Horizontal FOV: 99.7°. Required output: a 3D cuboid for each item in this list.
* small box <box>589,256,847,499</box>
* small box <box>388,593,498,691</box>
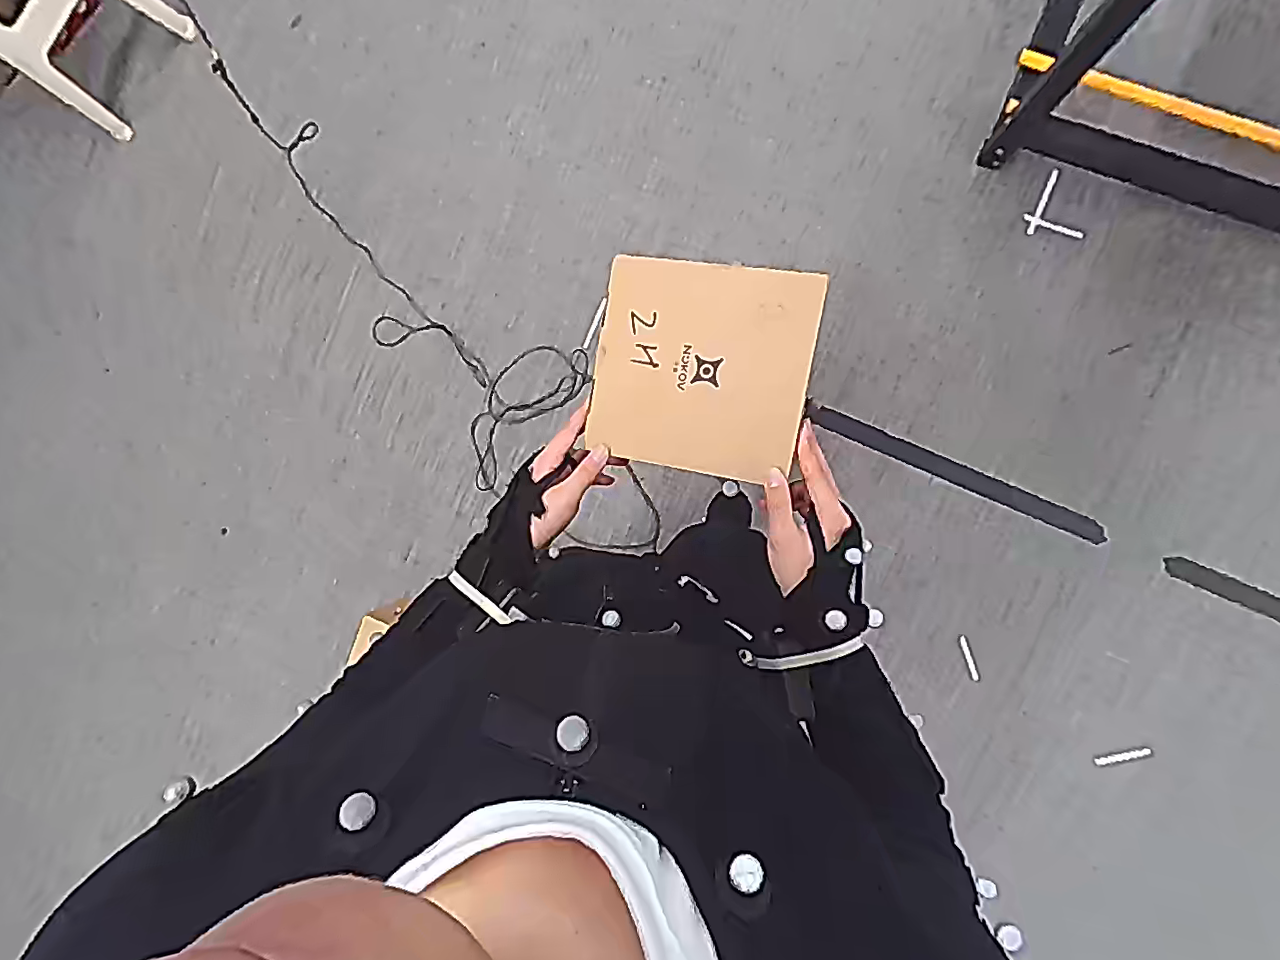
[{"bbox_3d":[0.075,-0.087,0.498,0.179,0.176,0.168,13,96,15],"label":"small box"},{"bbox_3d":[-0.482,0.392,1.345,0.179,0.176,0.168,17,93,6],"label":"small box"}]
